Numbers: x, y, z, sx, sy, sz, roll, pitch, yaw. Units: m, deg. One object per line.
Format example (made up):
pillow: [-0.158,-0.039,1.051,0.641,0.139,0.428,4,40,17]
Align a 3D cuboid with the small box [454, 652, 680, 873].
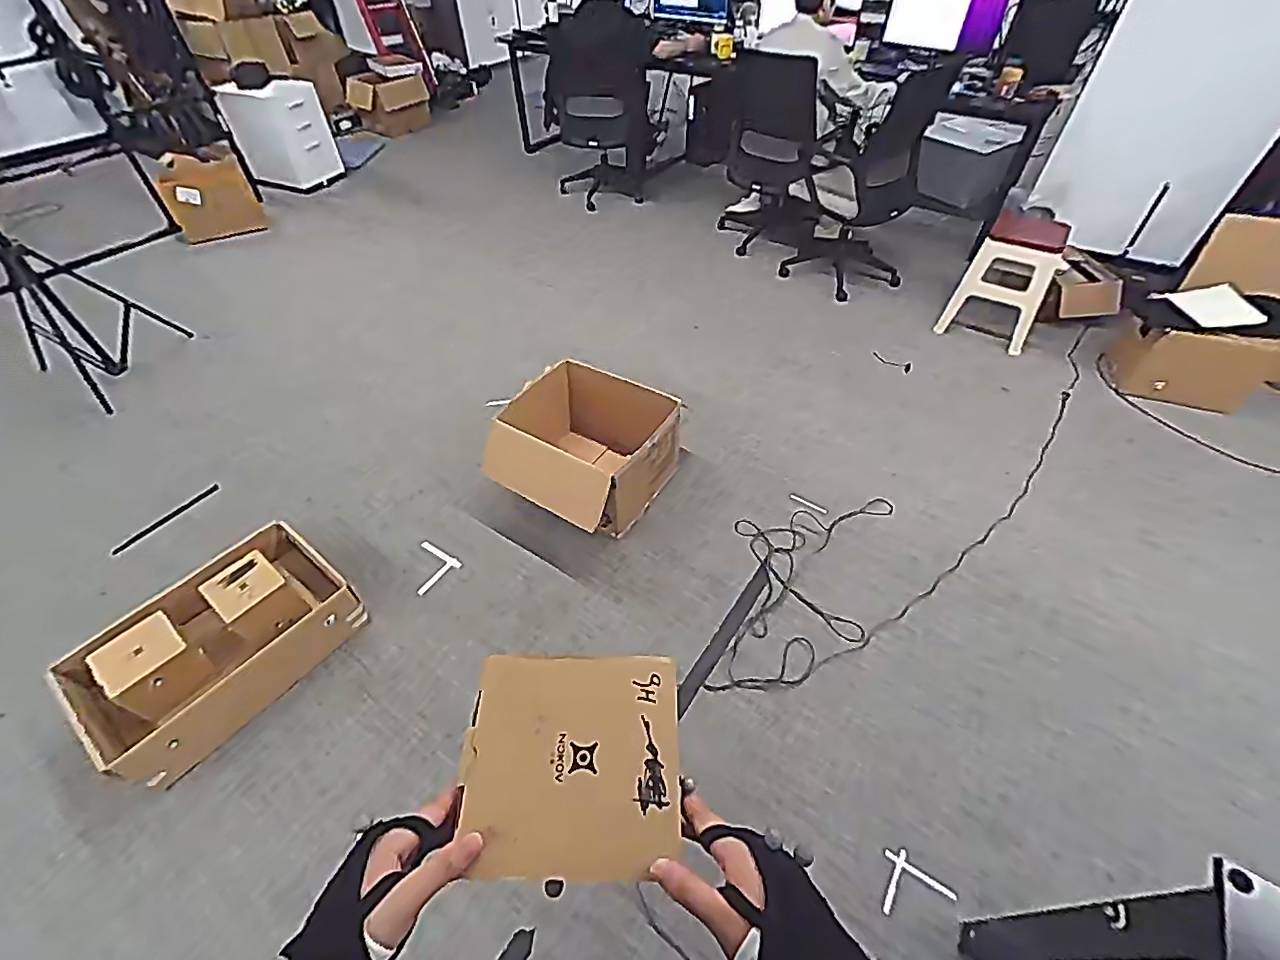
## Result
small box: [-0.052,0.273,0.517,0.179,0.176,0.168,0,55,1]

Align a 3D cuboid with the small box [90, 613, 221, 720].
small box: [-1.271,0.497,1.429,0.168,0.176,0.179,32,54,24]
